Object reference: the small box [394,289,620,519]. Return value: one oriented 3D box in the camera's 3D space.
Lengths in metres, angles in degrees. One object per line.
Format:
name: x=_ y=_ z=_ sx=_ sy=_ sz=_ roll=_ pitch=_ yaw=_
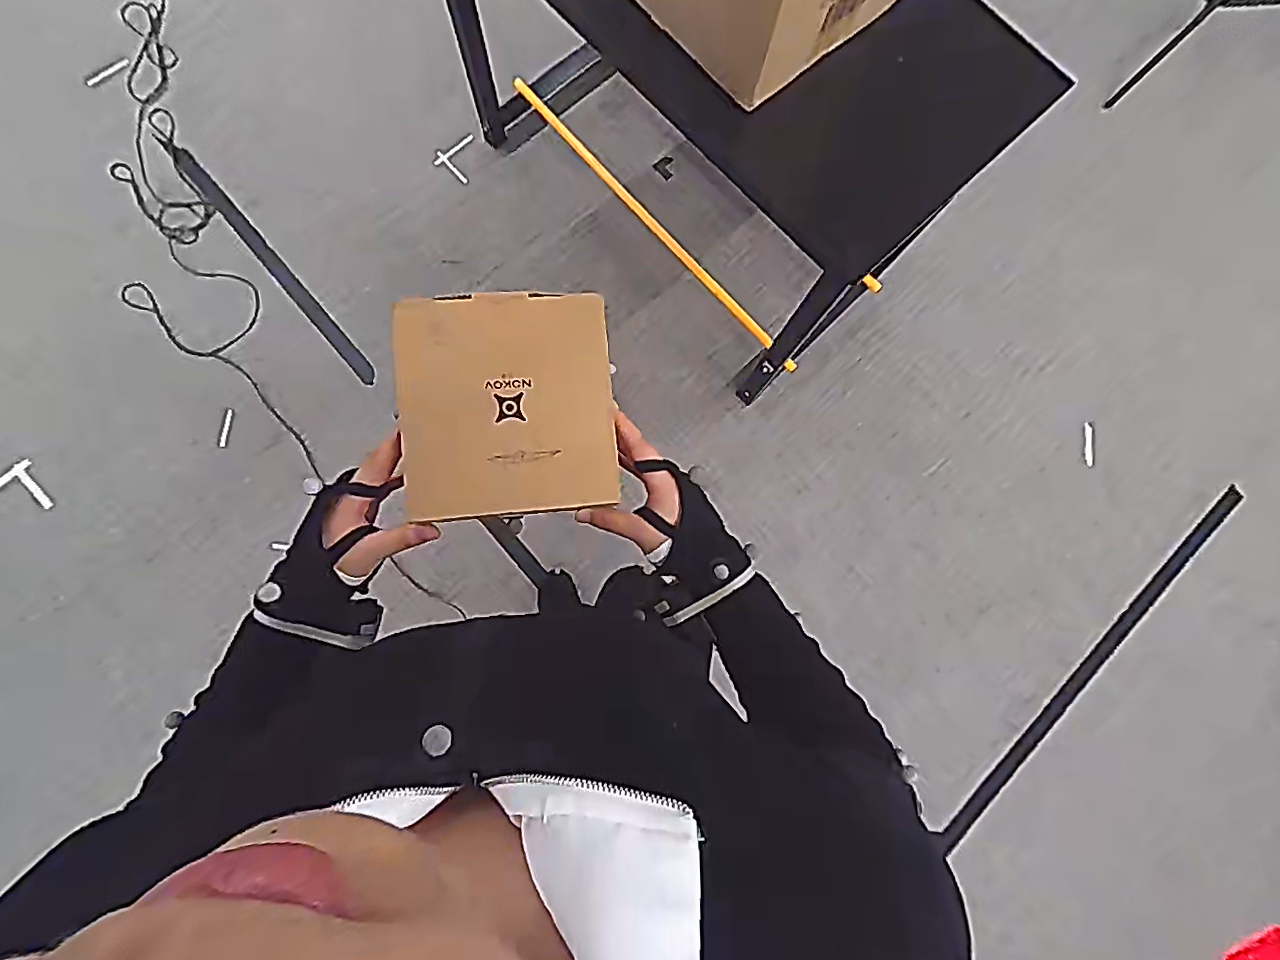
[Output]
small box: x=-0.115 y=-0.057 z=0.498 sx=0.168 sy=0.176 sz=0.179 roll=-5 pitch=87 yaw=-9
